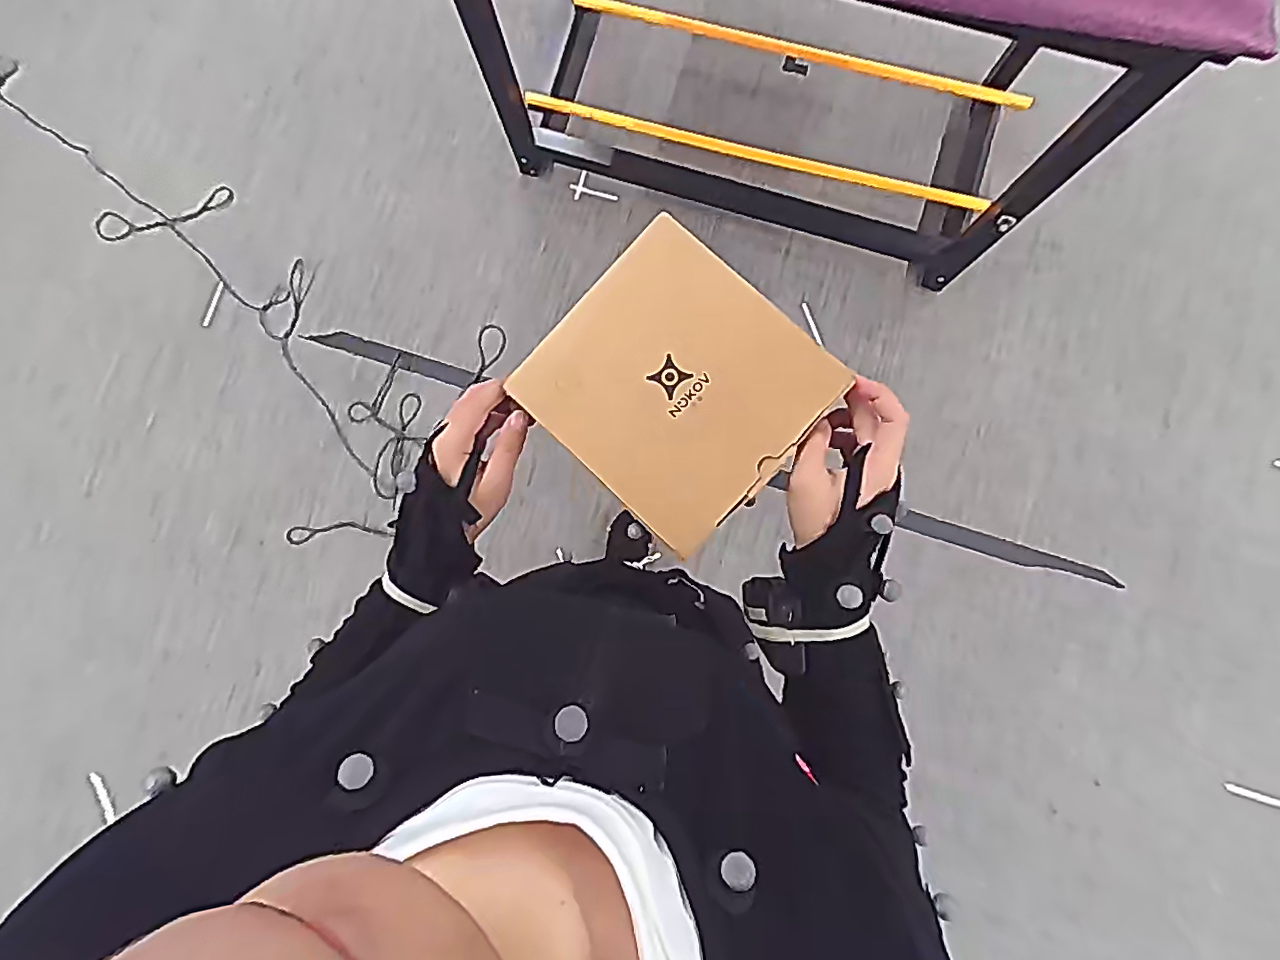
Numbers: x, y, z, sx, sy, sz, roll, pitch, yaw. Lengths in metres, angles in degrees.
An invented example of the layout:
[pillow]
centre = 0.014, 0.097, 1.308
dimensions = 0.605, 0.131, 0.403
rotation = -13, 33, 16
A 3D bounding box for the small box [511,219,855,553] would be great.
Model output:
[small box]
centre = 0.031, -0.060, 0.442
dimensions = 0.179, 0.176, 0.168
rotation = 43, 91, 5
